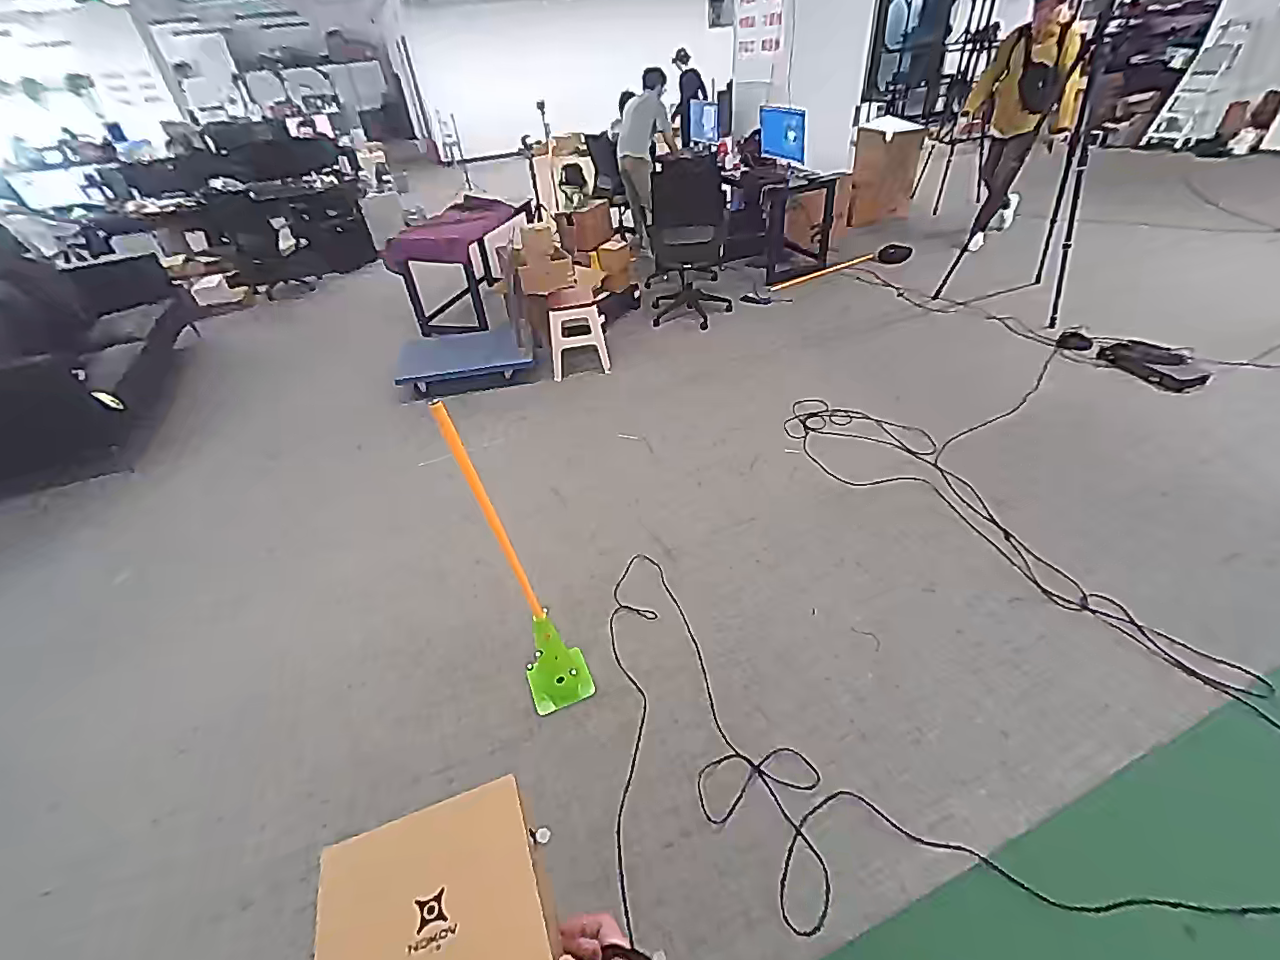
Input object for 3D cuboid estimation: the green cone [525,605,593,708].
[{"bbox_3d":[-0.288,0.534,1.742,0.202,0.368,0.200,-17,41,-16],"label":"green cone"}]
